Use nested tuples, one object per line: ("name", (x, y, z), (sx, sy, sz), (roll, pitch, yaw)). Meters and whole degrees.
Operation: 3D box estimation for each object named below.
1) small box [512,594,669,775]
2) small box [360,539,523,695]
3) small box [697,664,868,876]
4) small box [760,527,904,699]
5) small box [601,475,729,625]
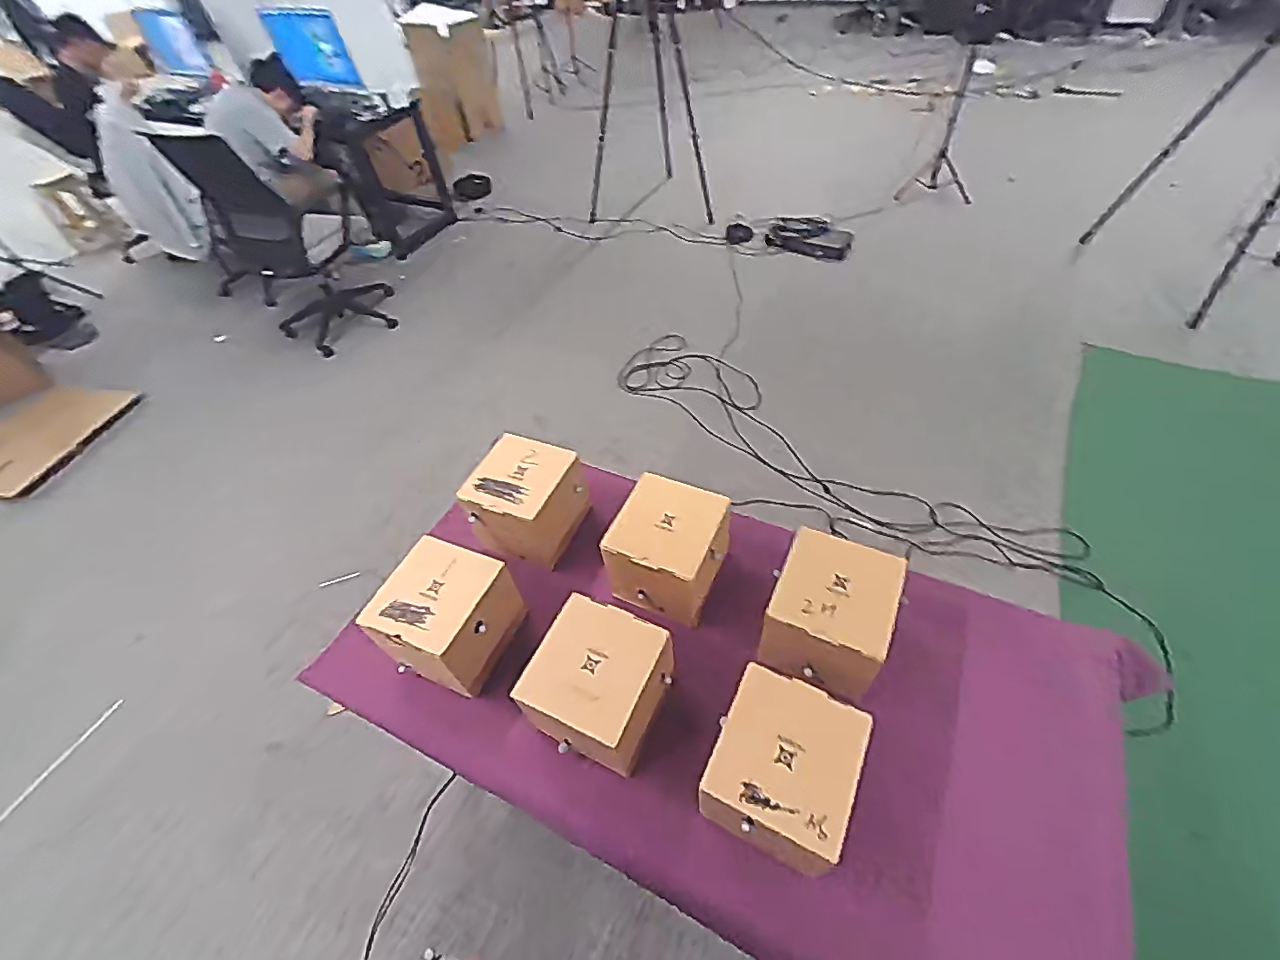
("small box", (-0.062, 0.312, 0.823), (0.168, 0.176, 0.179), (17, 55, 22))
("small box", (-0.321, 0.235, 0.918), (0.168, 0.176, 0.179), (15, 51, 19))
("small box", (0.185, 0.387, 0.724), (0.168, 0.176, 0.179), (19, 54, 23))
("small box", (0.296, 0.211, 0.858), (0.168, 0.176, 0.179), (18, 55, 22))
("small box", (0.051, 0.126, 0.967), (0.168, 0.176, 0.179), (17, 56, 21))
